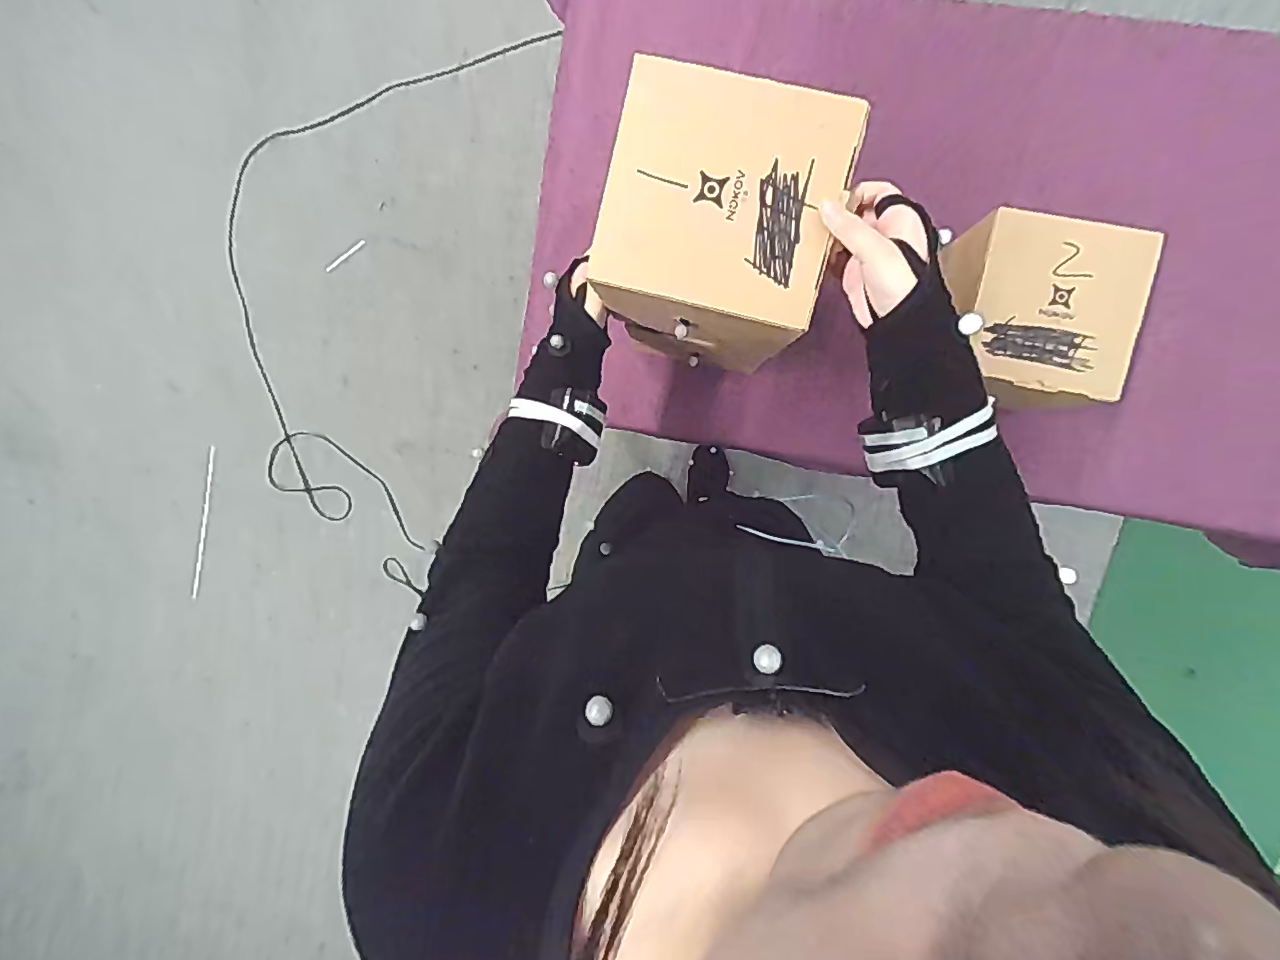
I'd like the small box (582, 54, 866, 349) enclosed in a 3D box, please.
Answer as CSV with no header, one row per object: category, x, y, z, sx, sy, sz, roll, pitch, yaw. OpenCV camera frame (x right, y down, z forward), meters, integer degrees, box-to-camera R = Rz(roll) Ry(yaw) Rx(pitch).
small box,0.066,-0.221,0.480,0.179,0.176,0.168,15,98,4

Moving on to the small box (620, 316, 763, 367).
small box,0.082,-0.245,0.664,0.168,0.176,0.179,13,97,3
